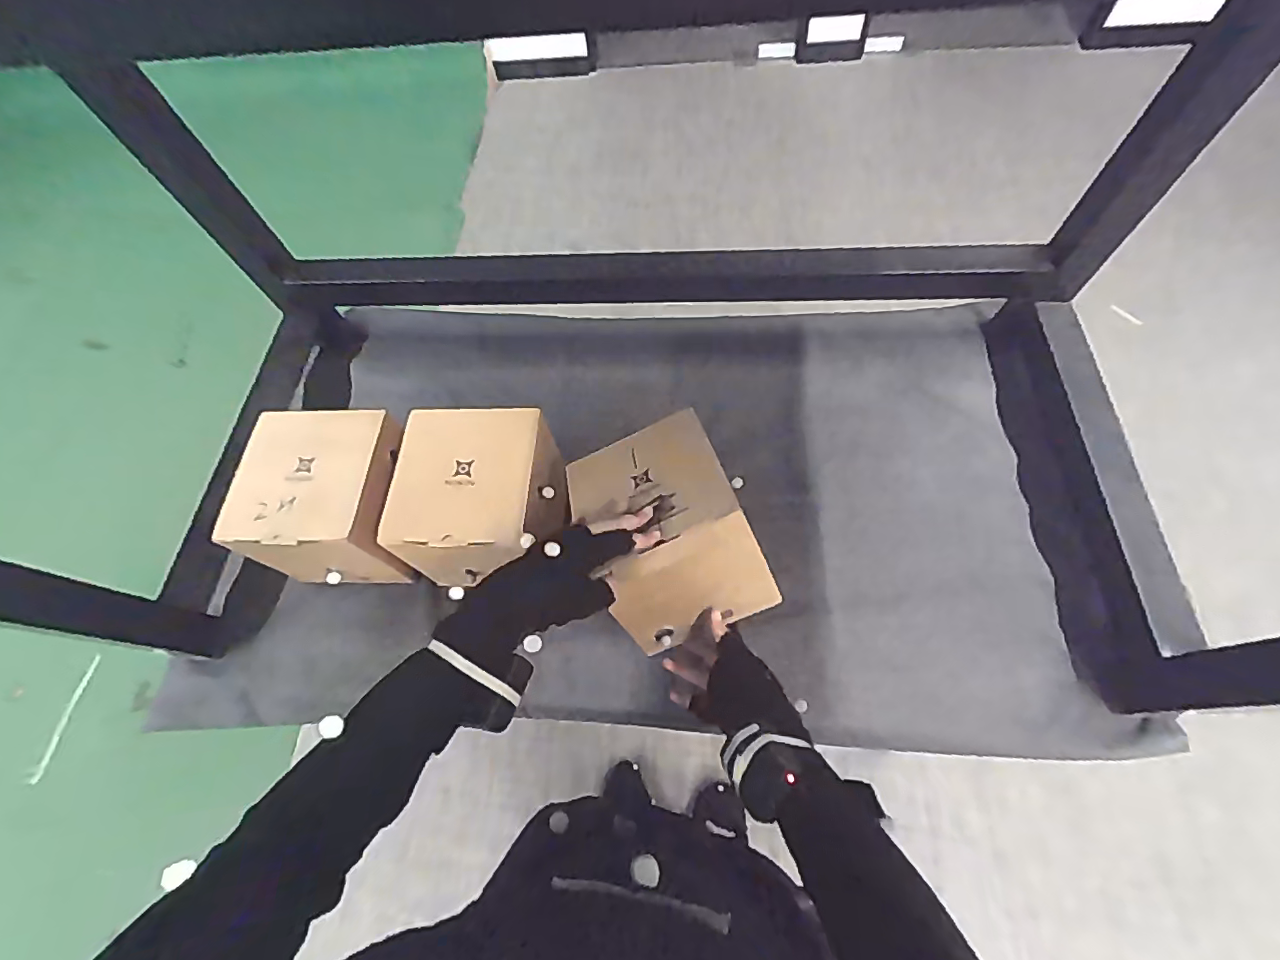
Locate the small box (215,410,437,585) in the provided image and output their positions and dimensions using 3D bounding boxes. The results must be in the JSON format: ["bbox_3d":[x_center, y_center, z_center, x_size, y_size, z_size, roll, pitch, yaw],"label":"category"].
[{"bbox_3d":[-0.387,0.027,0.708,0.168,0.176,0.179,-1,63,6],"label":"small box"}]

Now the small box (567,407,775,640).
[{"bbox_3d":[0.034,0.057,0.610,0.168,0.176,0.179,-24,41,8],"label":"small box"}]
